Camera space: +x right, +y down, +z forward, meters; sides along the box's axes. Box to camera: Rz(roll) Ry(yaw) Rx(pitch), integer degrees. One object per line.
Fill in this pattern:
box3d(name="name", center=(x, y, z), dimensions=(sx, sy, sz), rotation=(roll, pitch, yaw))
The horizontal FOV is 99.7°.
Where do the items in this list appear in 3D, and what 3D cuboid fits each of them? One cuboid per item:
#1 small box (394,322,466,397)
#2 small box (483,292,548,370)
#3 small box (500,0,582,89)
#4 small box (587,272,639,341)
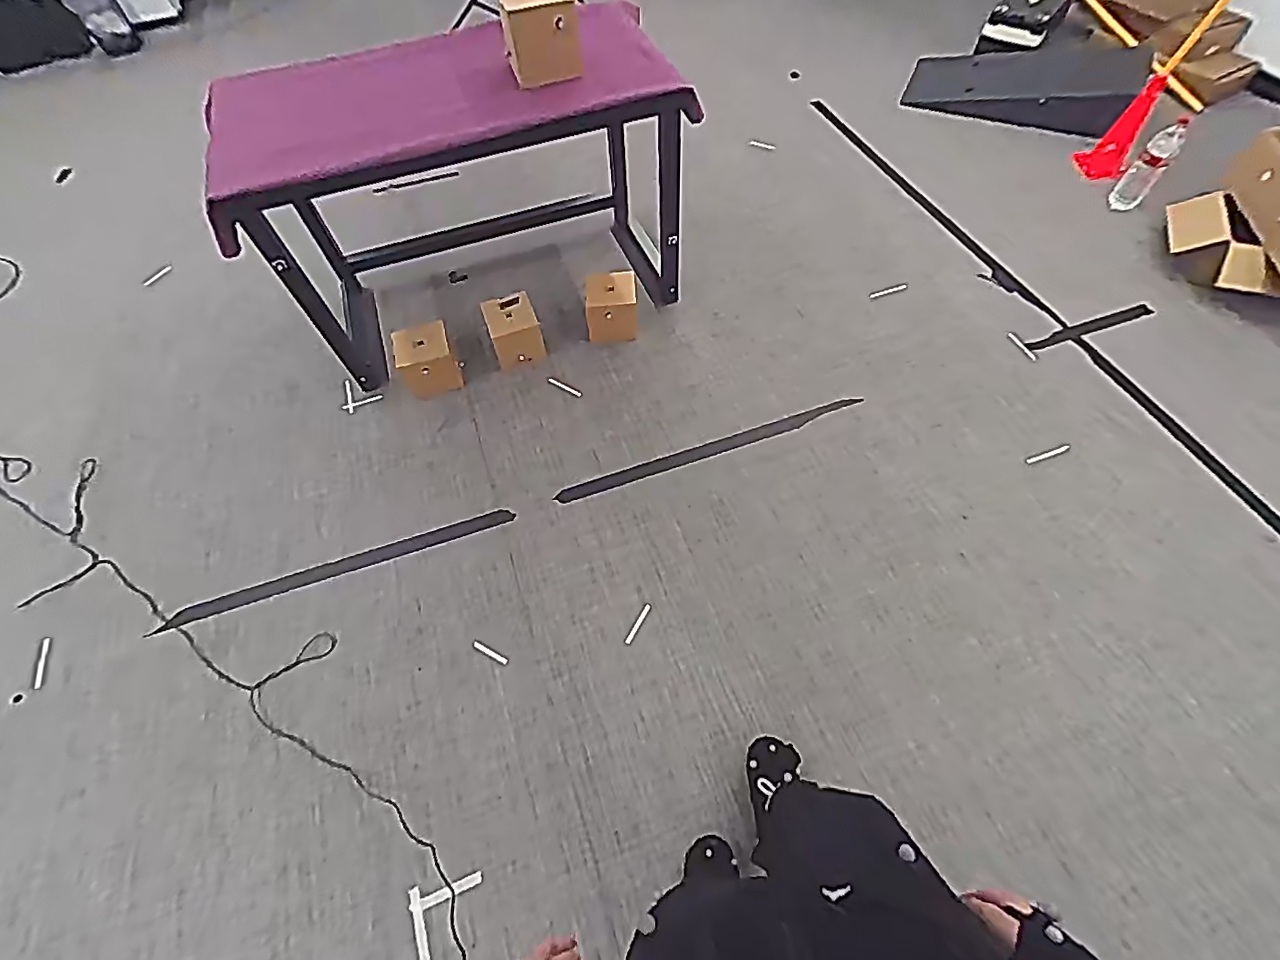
box3d(name="small box", center=(-0.715, -0.406, 1.847), dimensions=(0.179, 0.176, 0.168), rotation=(-16, 61, -7))
box3d(name="small box", center=(-0.435, -0.518, 1.895), dimensions=(0.168, 0.176, 0.179), rotation=(-20, 62, -8))
box3d(name="small box", center=(-0.256, -1.170, 1.419), dimensions=(0.179, 0.176, 0.168), rotation=(-17, 60, -6))
box3d(name="small box", center=(-0.094, -0.618, 1.937), dimensions=(0.179, 0.176, 0.168), rotation=(-5, 61, 2))
